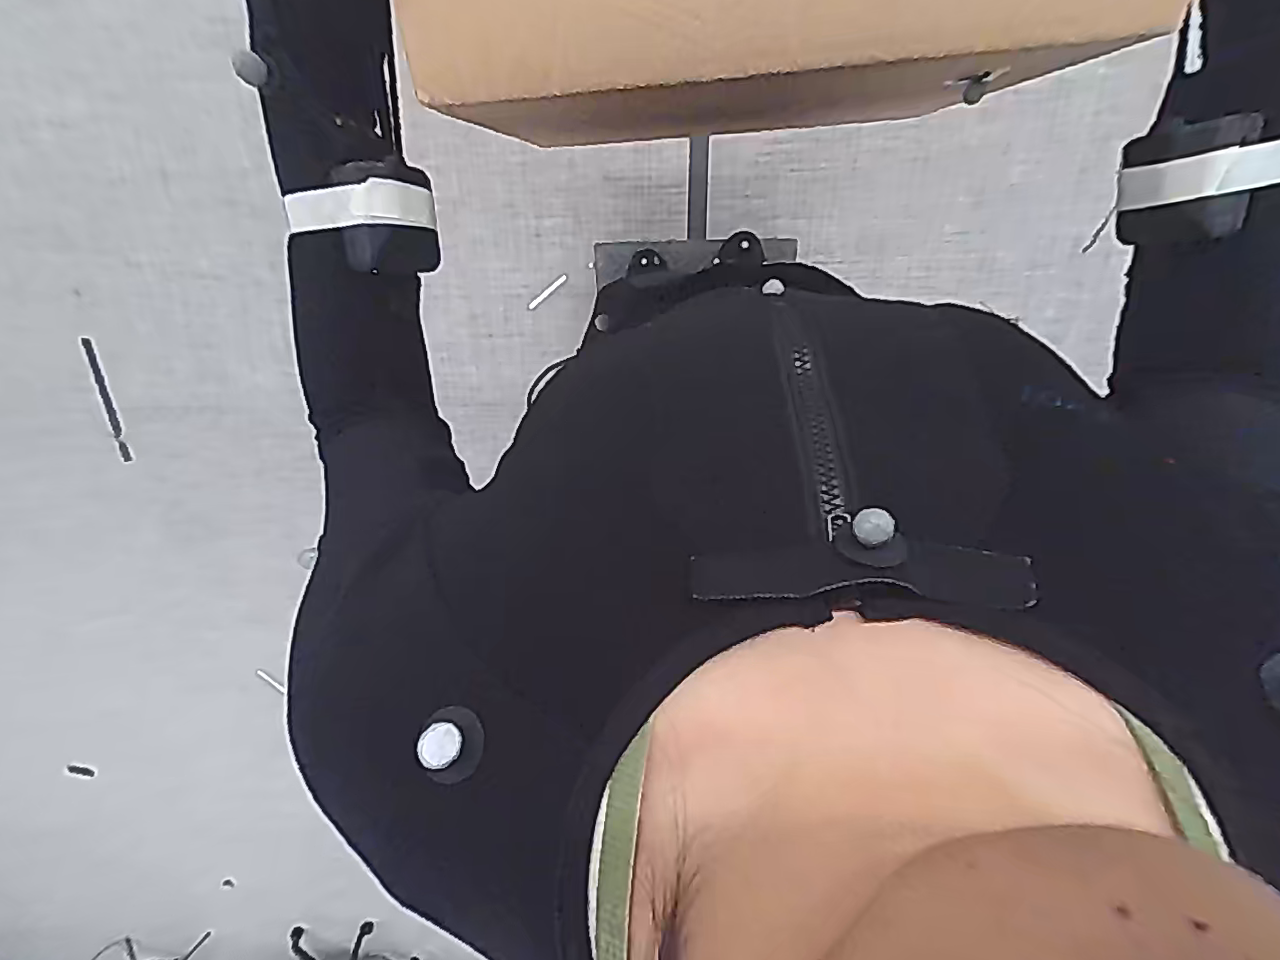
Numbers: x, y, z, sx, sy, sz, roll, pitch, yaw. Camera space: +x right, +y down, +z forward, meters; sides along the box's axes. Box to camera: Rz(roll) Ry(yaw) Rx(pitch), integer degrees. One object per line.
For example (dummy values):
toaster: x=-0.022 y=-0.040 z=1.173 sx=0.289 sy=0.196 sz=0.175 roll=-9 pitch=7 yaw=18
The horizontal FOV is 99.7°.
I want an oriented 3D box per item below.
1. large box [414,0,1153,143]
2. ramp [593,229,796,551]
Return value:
large box: x=0.072 y=-0.434 z=0.367 sx=0.408 sy=0.320 sz=0.320 roll=-2 pitch=117 yaw=5
ramp: x=0.146 y=-0.180 z=1.563 sx=0.509 sy=0.206 sz=0.991 roll=-2 pitch=113 yaw=3
